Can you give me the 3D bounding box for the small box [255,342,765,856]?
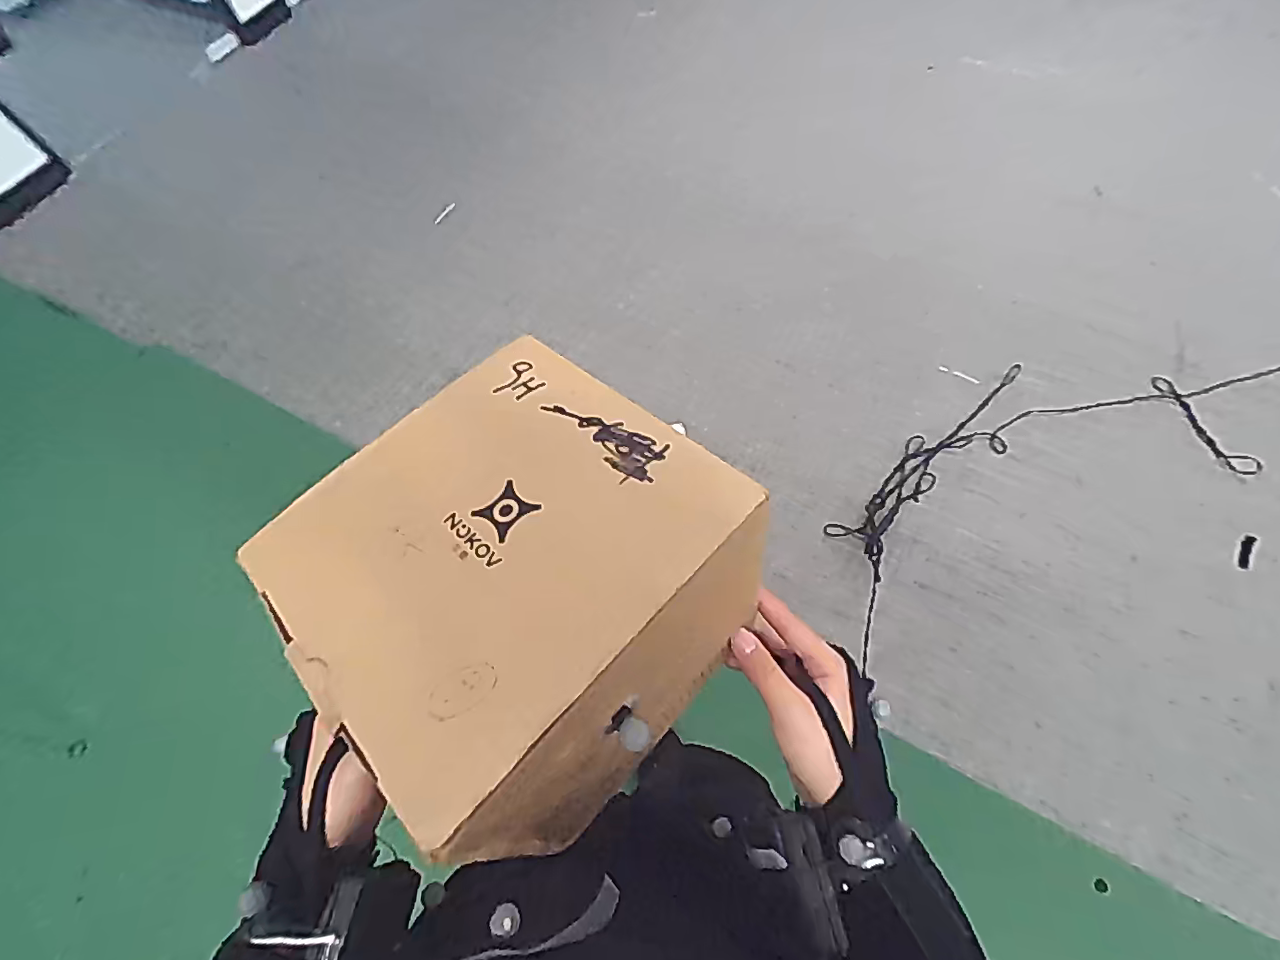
[{"bbox_3d":[-0.048,0.066,0.298,0.168,0.176,0.179,37,70,28],"label":"small box"}]
